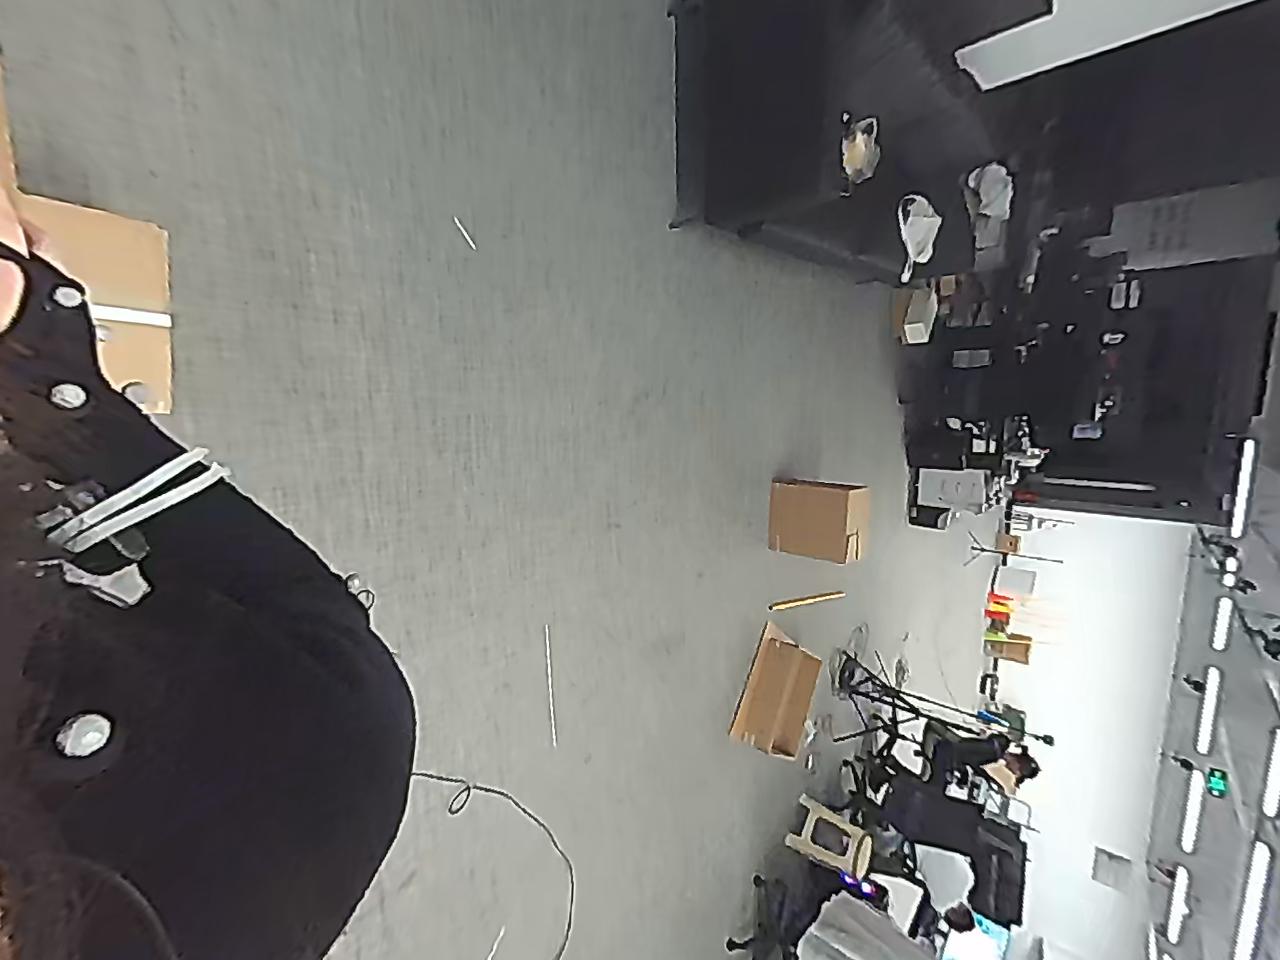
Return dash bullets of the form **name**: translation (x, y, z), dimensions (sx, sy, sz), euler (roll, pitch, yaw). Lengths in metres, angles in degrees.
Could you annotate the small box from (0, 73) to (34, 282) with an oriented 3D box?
- **small box**: translation (-0.511, -0.227, 0.327), dimensions (0.168, 0.176, 0.179), euler (-7, 102, -41)
